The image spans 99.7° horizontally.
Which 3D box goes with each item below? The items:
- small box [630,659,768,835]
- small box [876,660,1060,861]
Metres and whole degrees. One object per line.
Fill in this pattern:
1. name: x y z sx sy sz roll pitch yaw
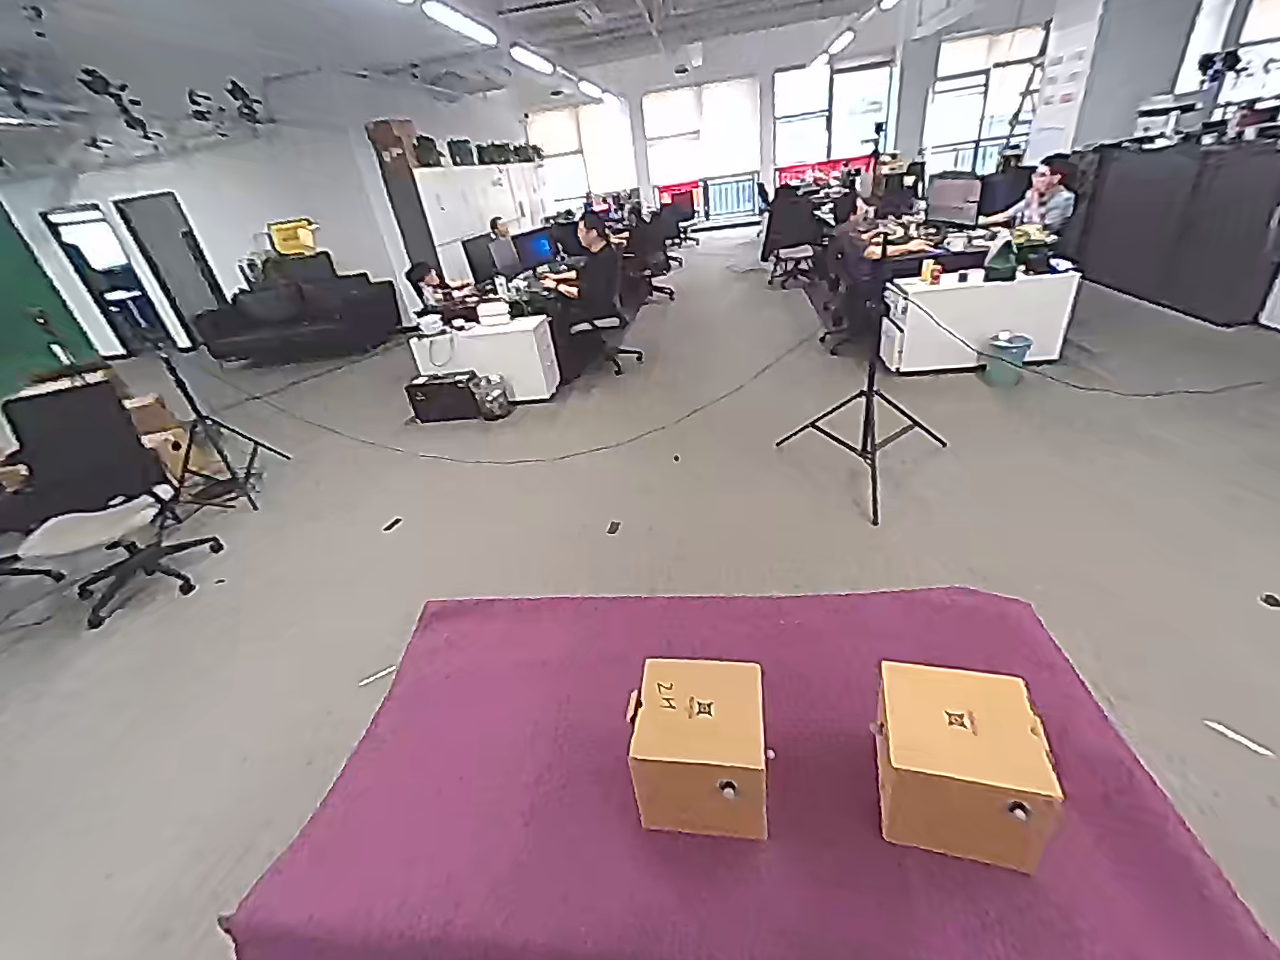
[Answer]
1. small box: 0.094 0.386 0.788 0.179 0.176 0.168 -2 30 12
2. small box: 0.418 0.370 0.725 0.179 0.176 0.168 1 31 18
